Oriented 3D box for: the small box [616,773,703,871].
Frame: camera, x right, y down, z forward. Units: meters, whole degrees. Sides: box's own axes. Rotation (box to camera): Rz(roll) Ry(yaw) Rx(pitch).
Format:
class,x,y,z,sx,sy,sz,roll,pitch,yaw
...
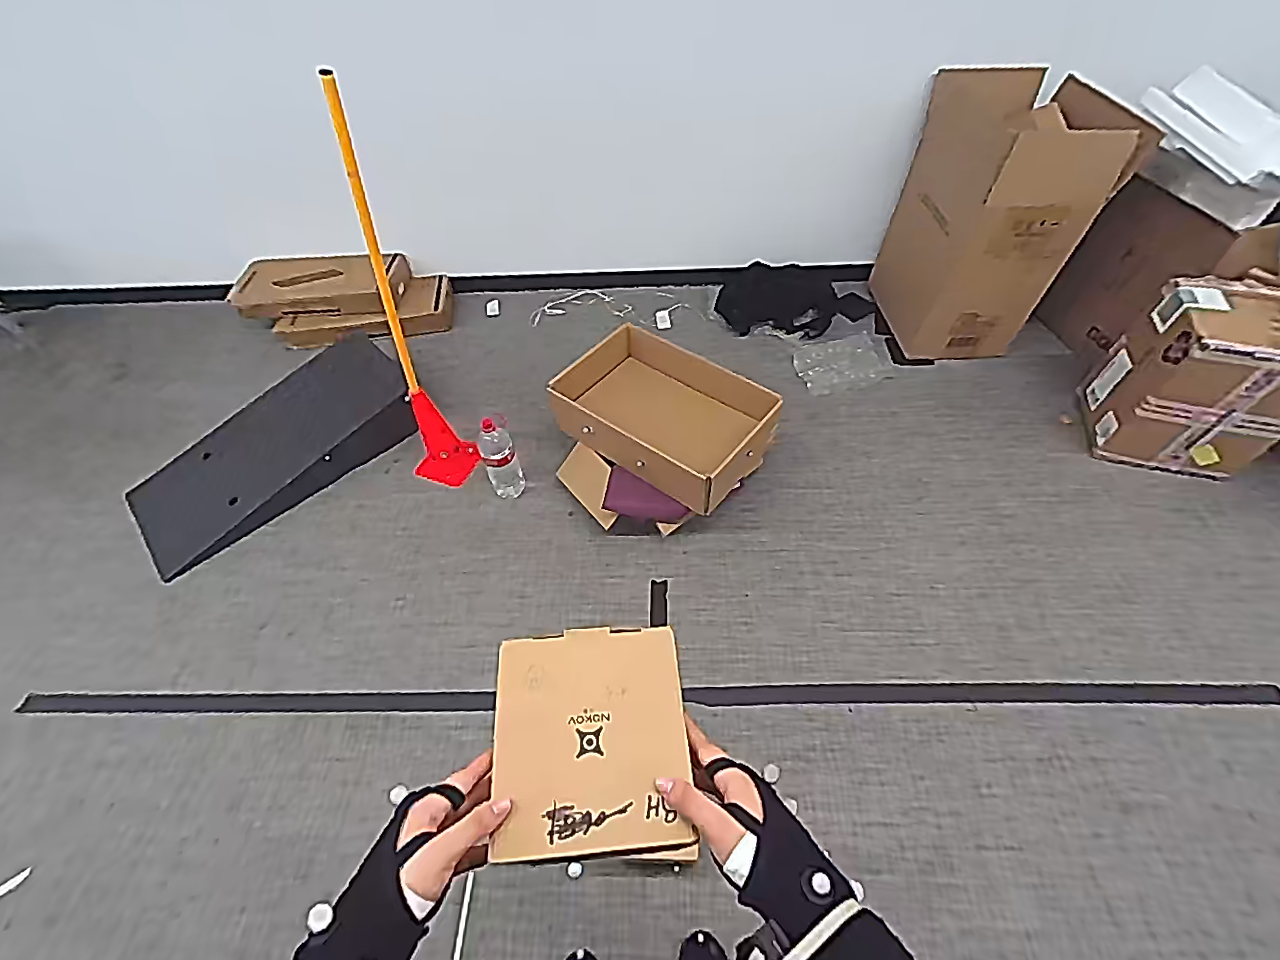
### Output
class,x,y,z,sx,sy,sz,roll,pitch,yaw
small box,0.044,0.757,1.195,0.179,0.176,0.168,-2,51,3
